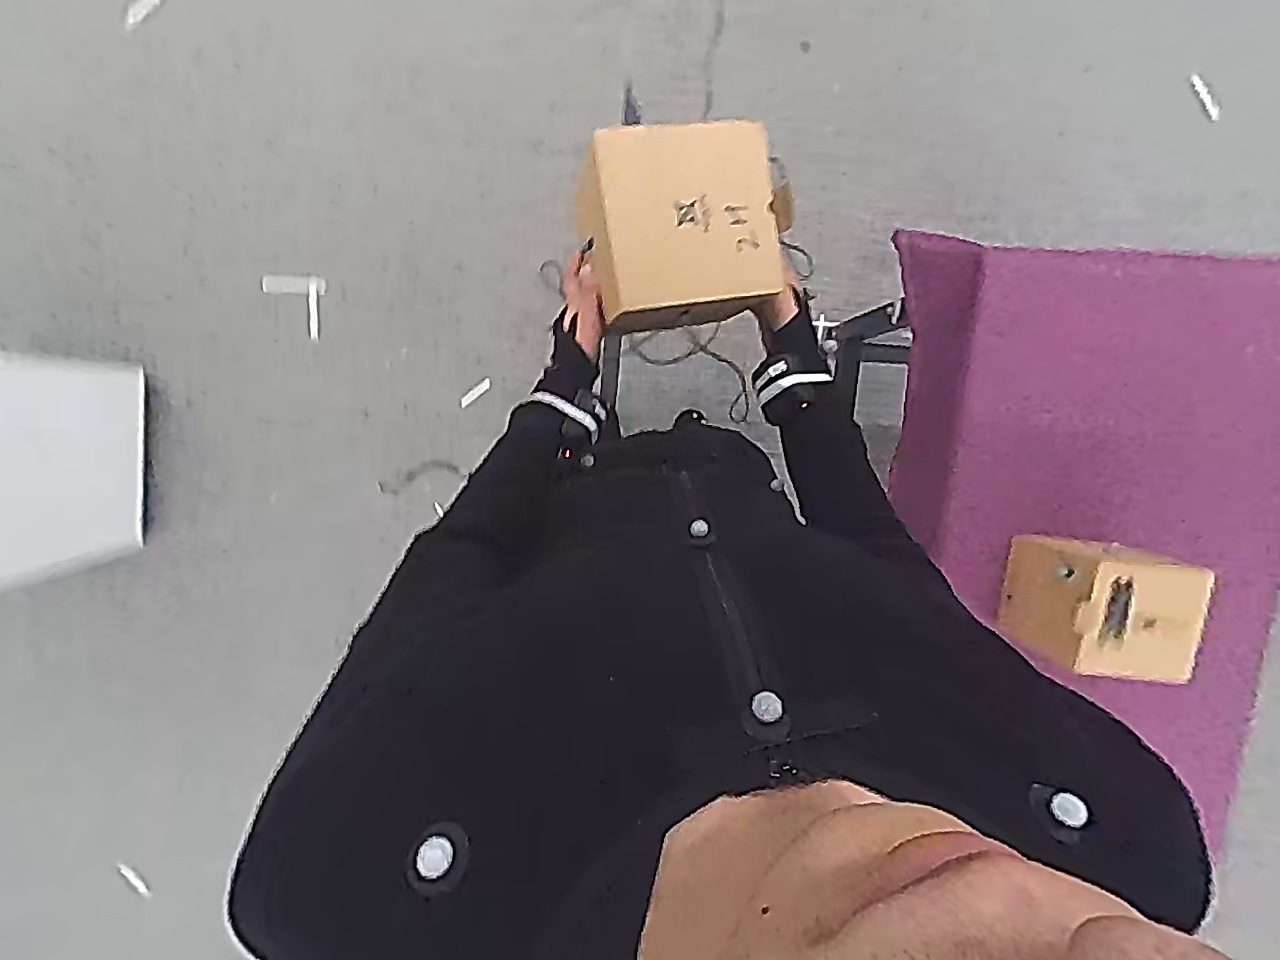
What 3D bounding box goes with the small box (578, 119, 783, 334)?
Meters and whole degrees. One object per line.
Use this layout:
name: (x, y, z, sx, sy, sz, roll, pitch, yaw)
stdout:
small box: (0.032, -0.266, 0.599, 0.179, 0.176, 0.168, -11, 98, -13)
